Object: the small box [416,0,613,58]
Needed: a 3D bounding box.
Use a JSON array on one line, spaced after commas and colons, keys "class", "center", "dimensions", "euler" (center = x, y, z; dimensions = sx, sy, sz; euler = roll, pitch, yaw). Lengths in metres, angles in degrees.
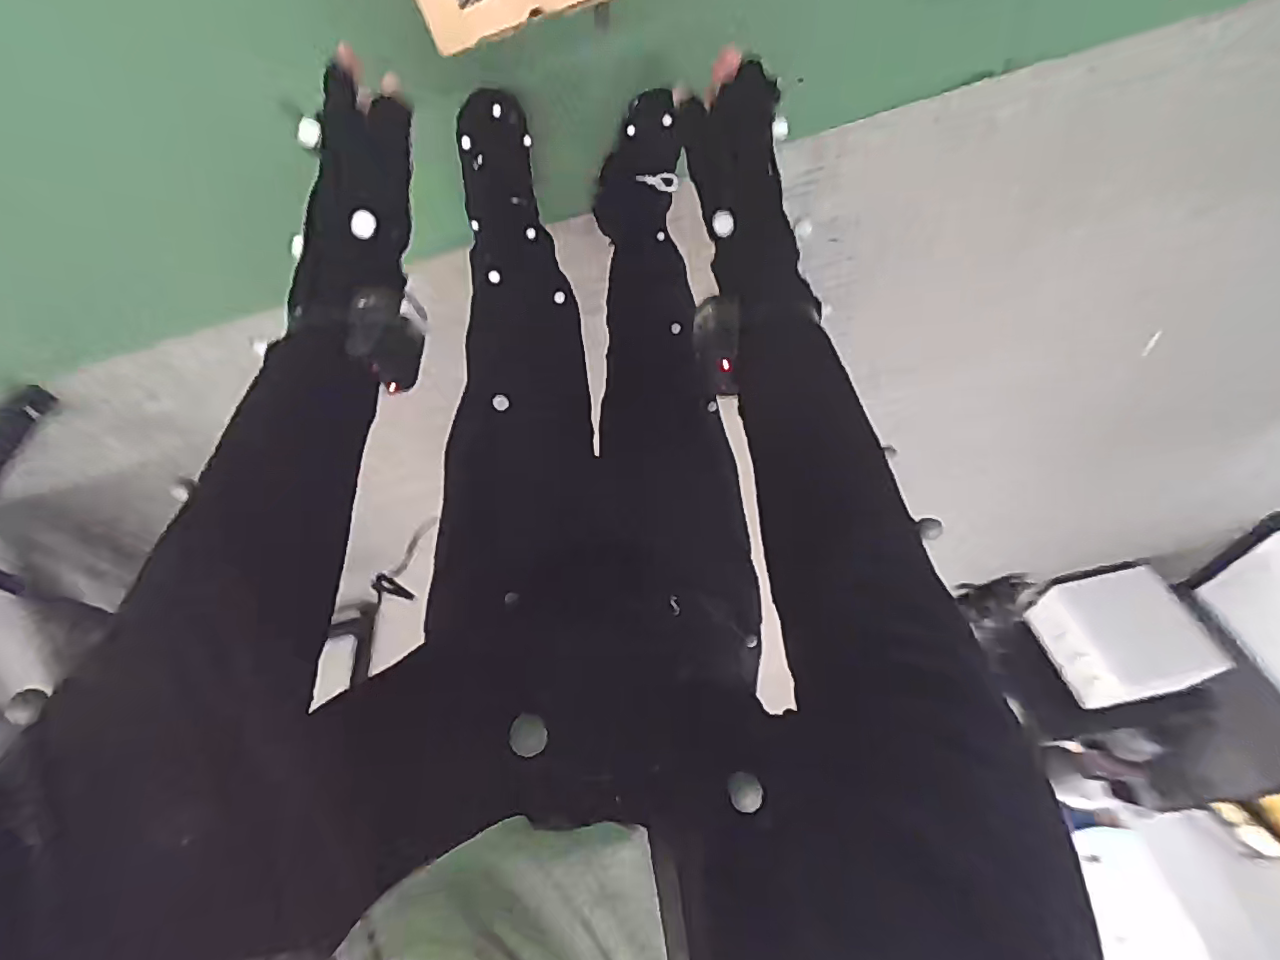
[{"class": "small box", "center": [-0.112, -0.469, 0.407], "dimensions": [0.168, 0.176, 0.179], "euler": [-16, 141, 5]}]
